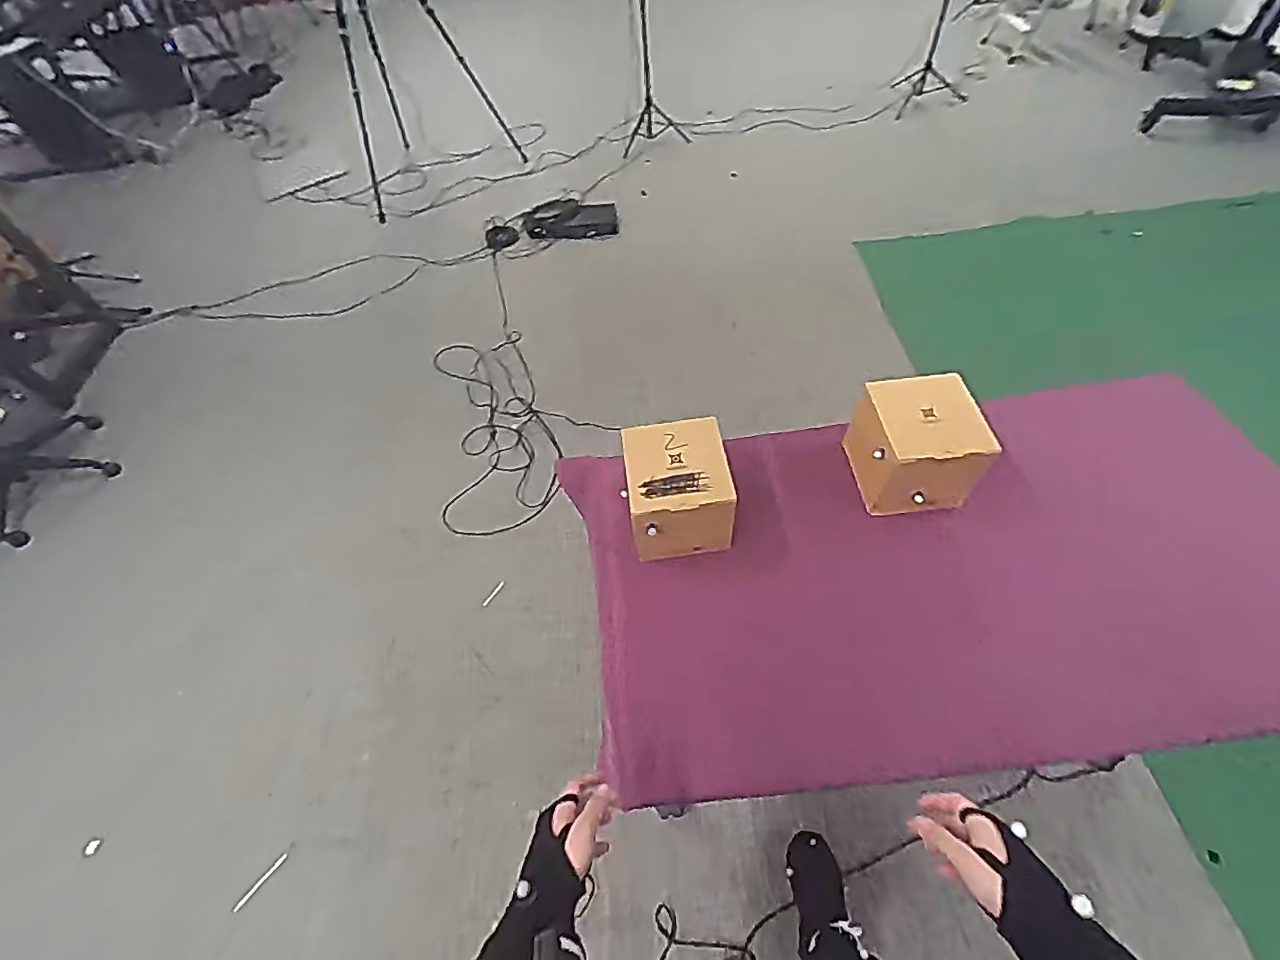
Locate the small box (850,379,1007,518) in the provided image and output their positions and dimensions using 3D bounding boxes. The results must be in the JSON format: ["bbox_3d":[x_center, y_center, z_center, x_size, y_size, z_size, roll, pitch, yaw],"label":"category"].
[{"bbox_3d":[0.490,-0.053,0.953,0.168,0.176,0.179,-5,56,1],"label":"small box"}]
